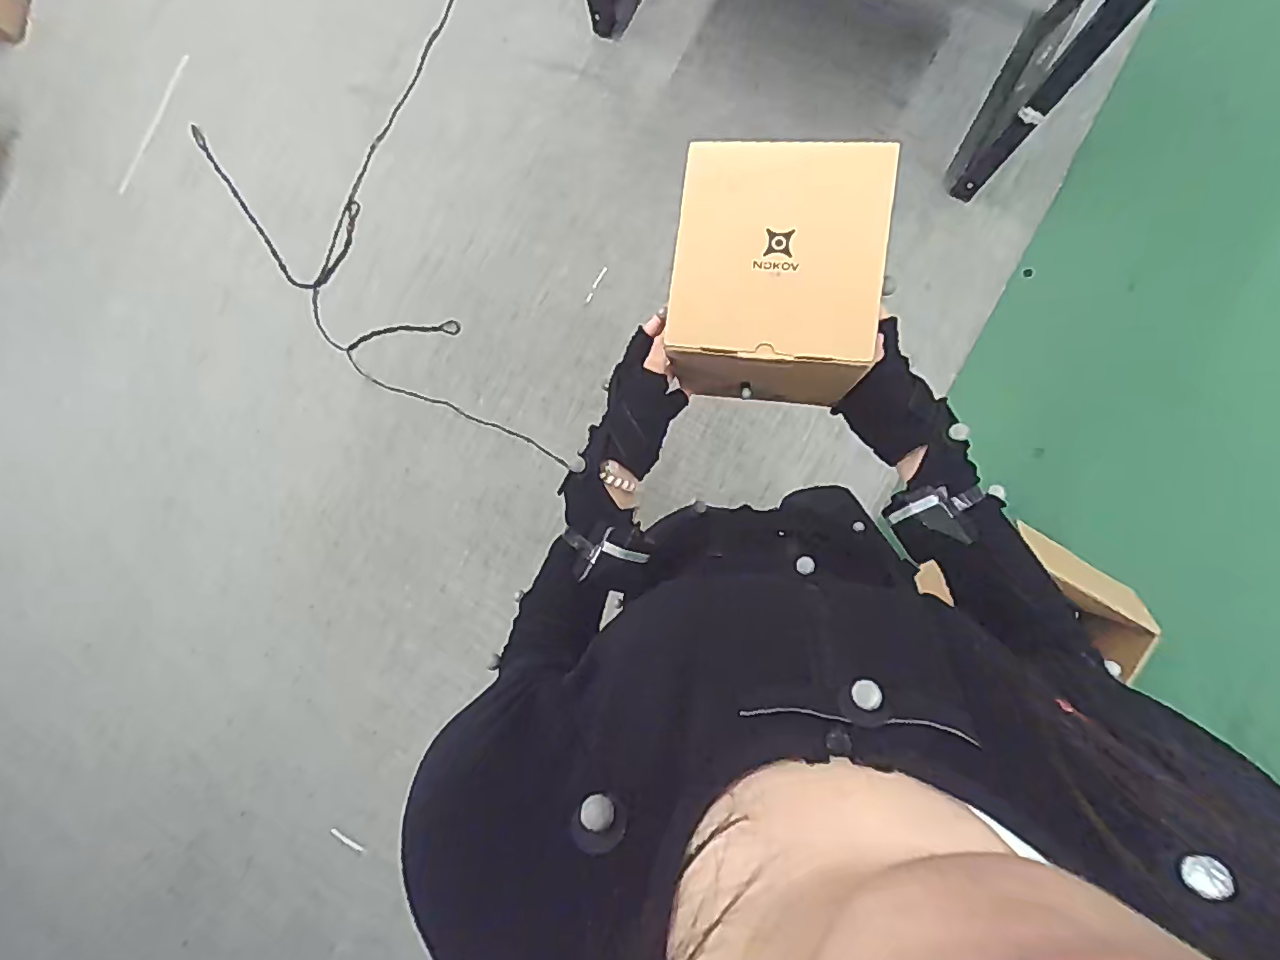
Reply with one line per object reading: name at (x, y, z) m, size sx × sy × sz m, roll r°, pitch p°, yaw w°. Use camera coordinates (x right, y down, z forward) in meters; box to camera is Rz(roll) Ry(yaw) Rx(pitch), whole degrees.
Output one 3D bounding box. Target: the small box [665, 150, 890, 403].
small box at (0.124, -0.182, 0.523) m, size 0.168 × 0.176 × 0.179 m, roll 7°, pitch 90°, yaw 11°
